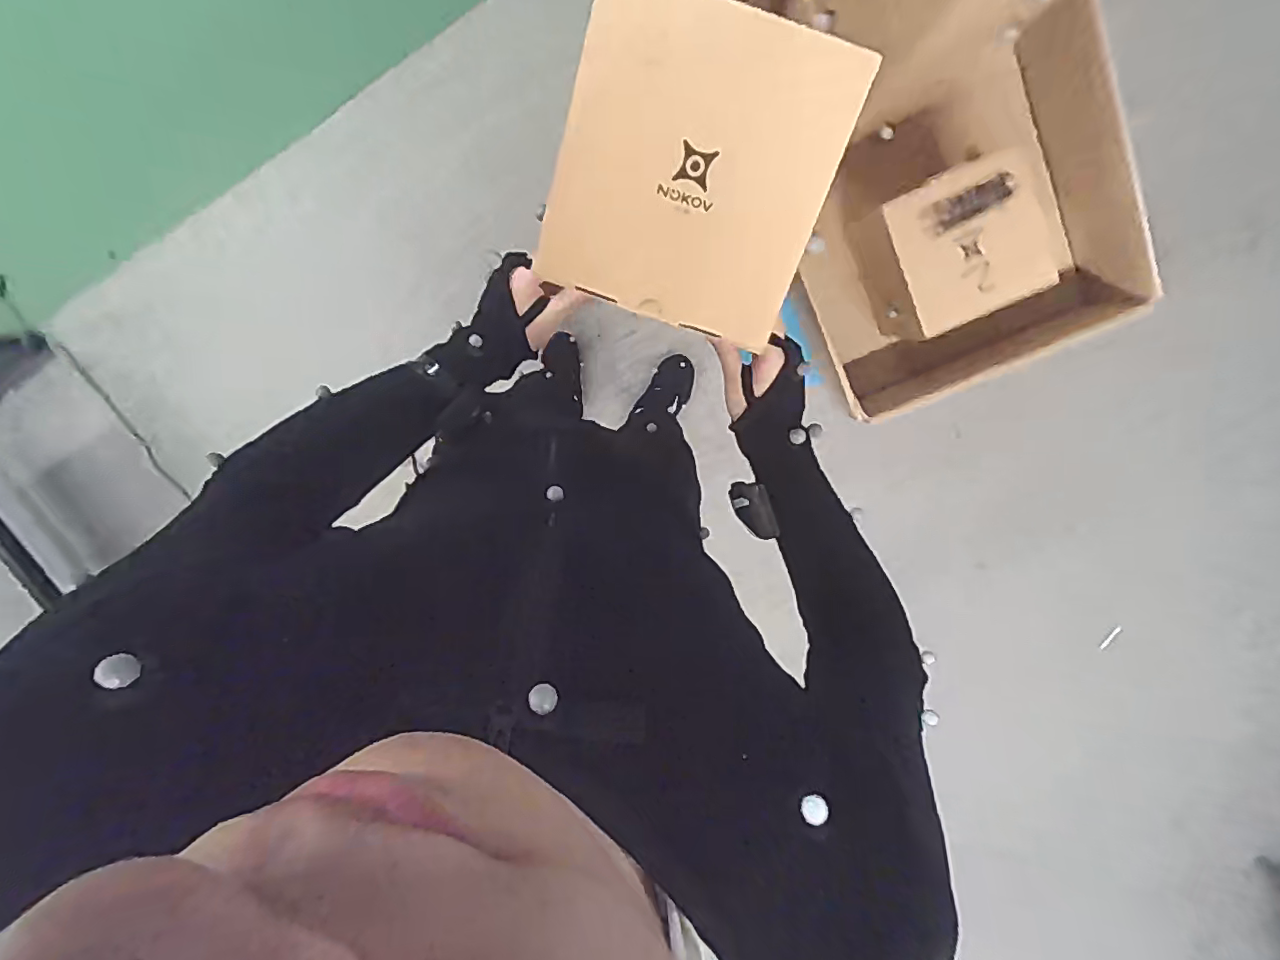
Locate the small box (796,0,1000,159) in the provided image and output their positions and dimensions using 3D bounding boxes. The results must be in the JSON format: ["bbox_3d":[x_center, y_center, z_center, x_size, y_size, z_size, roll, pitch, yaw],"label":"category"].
[{"bbox_3d":[0.300,-0.539,0.679,0.179,0.176,0.168,-23,103,11],"label":"small box"}]

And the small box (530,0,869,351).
[{"bbox_3d":[0.034,-0.215,0.404,0.168,0.176,0.179,17,112,-2],"label":"small box"}]
